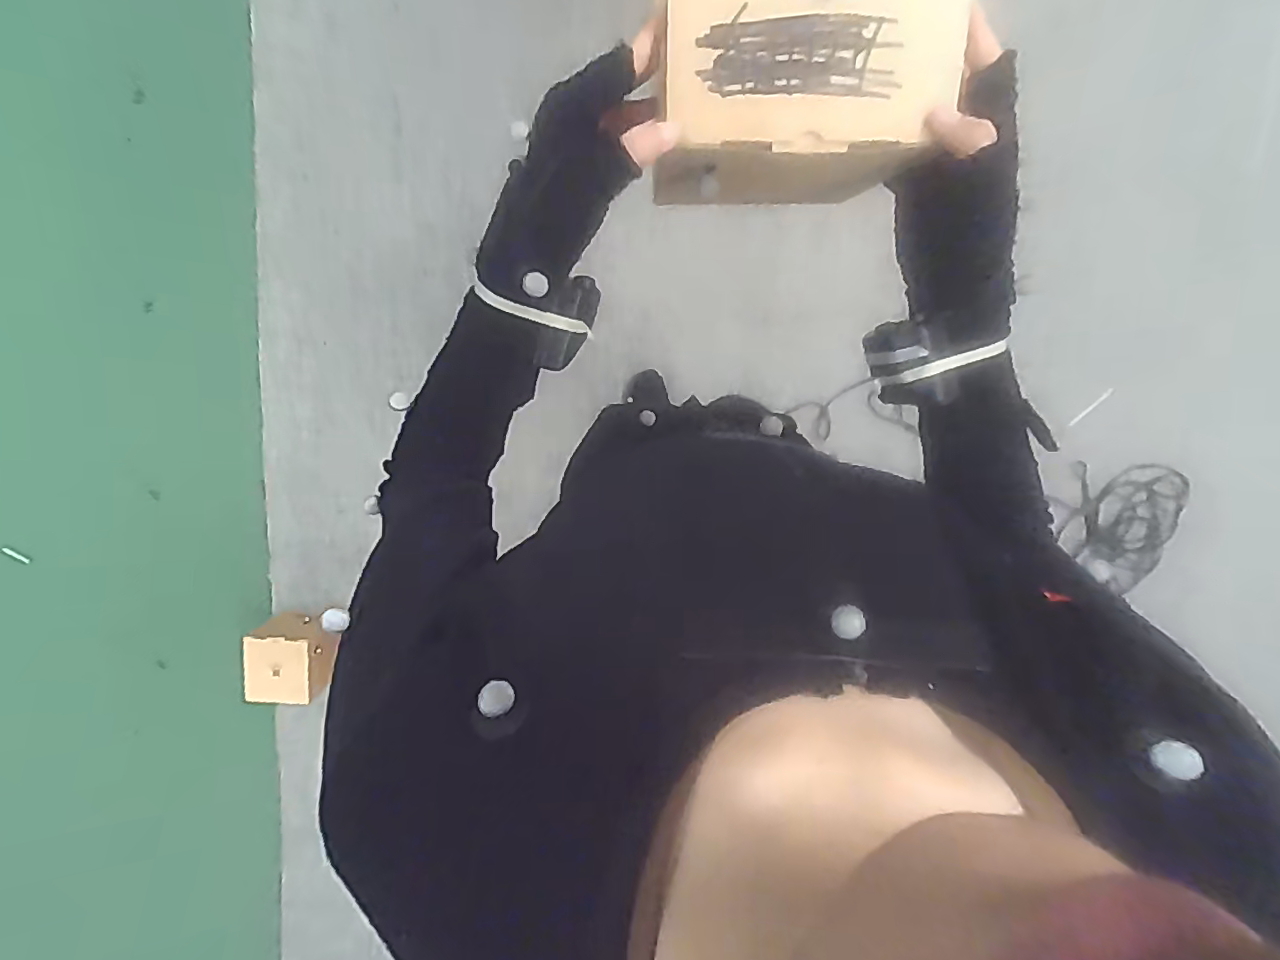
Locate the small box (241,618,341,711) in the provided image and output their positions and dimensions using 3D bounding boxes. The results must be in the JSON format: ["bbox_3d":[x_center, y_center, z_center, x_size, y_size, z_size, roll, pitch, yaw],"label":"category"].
[{"bbox_3d":[-0.918,0.485,1.435,0.168,0.176,0.179,3,97,-1],"label":"small box"}]
